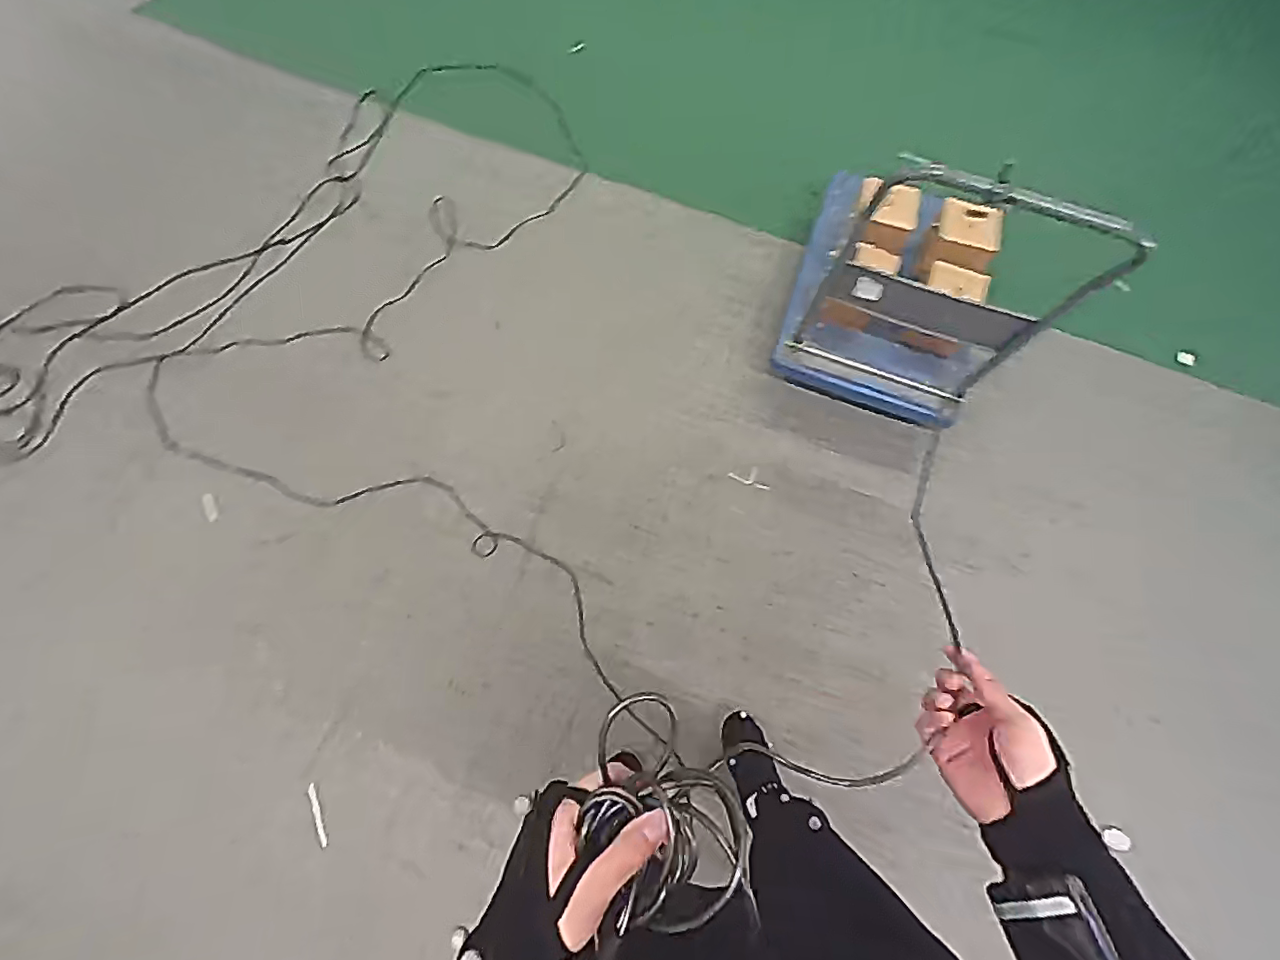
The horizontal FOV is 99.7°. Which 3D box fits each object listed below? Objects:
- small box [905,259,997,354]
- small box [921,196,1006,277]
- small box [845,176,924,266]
[{"bbox_3d":[0.914,-0.510,1.603,0.168,0.176,0.179,21,70,6],"label":"small box"},{"bbox_3d":[1.010,-0.745,1.697,0.168,0.176,0.179,17,70,5],"label":"small box"},{"bbox_3d":[0.769,-0.815,1.715,0.168,0.176,0.179,17,69,3],"label":"small box"}]
